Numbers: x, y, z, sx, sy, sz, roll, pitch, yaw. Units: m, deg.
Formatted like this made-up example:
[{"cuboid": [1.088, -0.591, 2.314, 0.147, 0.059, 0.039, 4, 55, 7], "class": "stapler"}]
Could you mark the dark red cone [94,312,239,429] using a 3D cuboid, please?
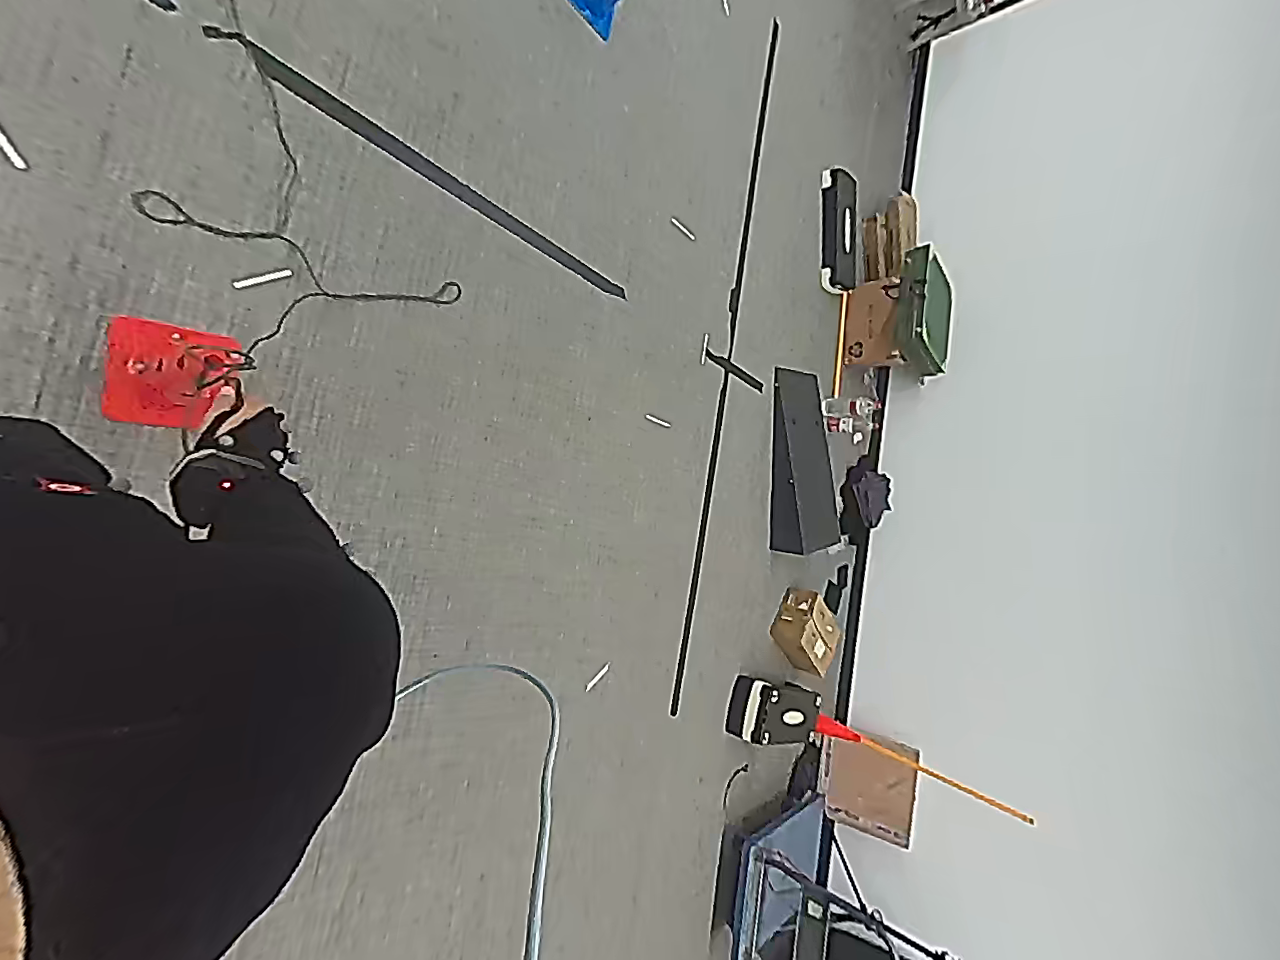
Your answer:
[{"cuboid": [-0.776, -0.196, 0.924, 0.202, 0.394, 0.201, 4, 89, -48], "class": "dark red cone"}]

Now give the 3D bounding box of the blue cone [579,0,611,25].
[{"cuboid": [-0.043, -1.619, 1.657, 0.193, 0.380, 0.192, 17, 80, -48], "class": "blue cone"}]
